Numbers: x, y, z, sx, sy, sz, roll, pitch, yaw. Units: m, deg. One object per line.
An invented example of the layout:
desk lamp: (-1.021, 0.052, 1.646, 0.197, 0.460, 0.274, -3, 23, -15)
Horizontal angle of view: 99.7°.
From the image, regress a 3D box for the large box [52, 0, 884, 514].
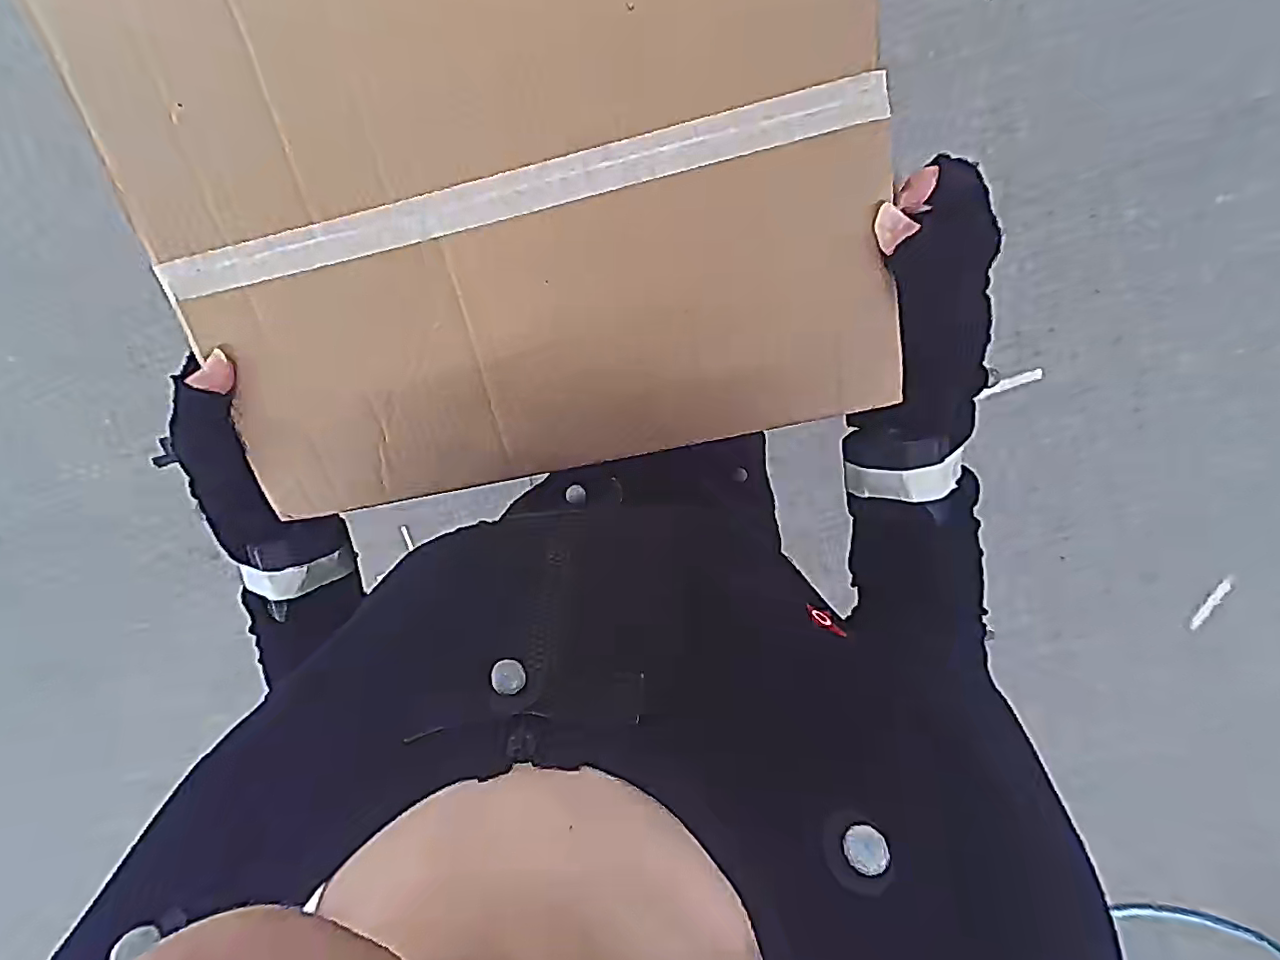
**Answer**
large box: (-0.069, -0.207, 0.440, 0.408, 0.320, 0.320, -11, 109, 7)
